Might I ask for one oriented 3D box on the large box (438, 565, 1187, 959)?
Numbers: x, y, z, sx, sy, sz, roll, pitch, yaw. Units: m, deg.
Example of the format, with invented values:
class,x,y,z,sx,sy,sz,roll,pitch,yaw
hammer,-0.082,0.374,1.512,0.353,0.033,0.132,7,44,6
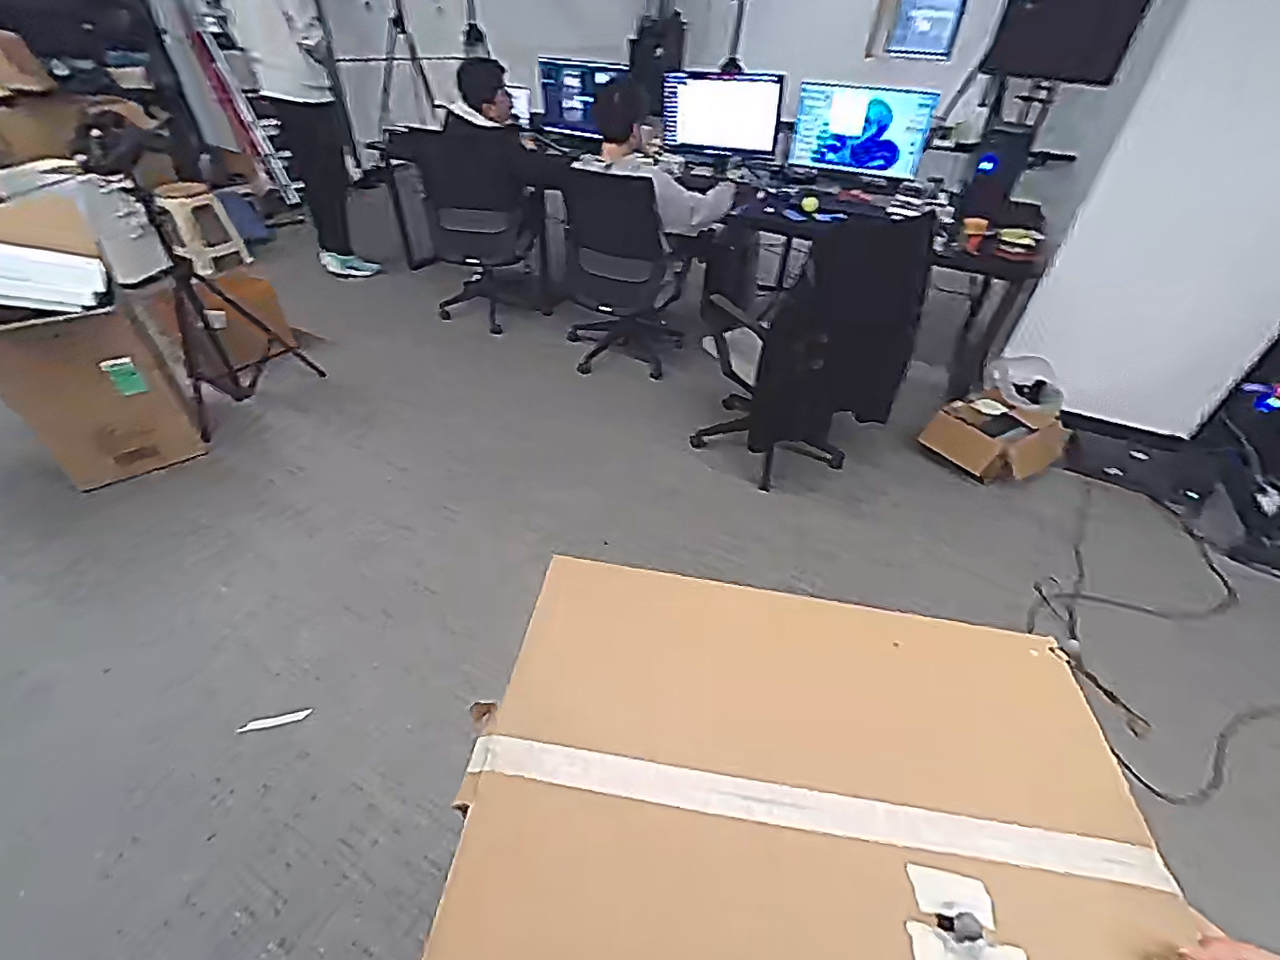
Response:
class,x,y,z,sx,sy,sz,roll,pitch,yaw
large box,0.089,0.308,0.433,0.408,0.320,0.320,9,44,1
